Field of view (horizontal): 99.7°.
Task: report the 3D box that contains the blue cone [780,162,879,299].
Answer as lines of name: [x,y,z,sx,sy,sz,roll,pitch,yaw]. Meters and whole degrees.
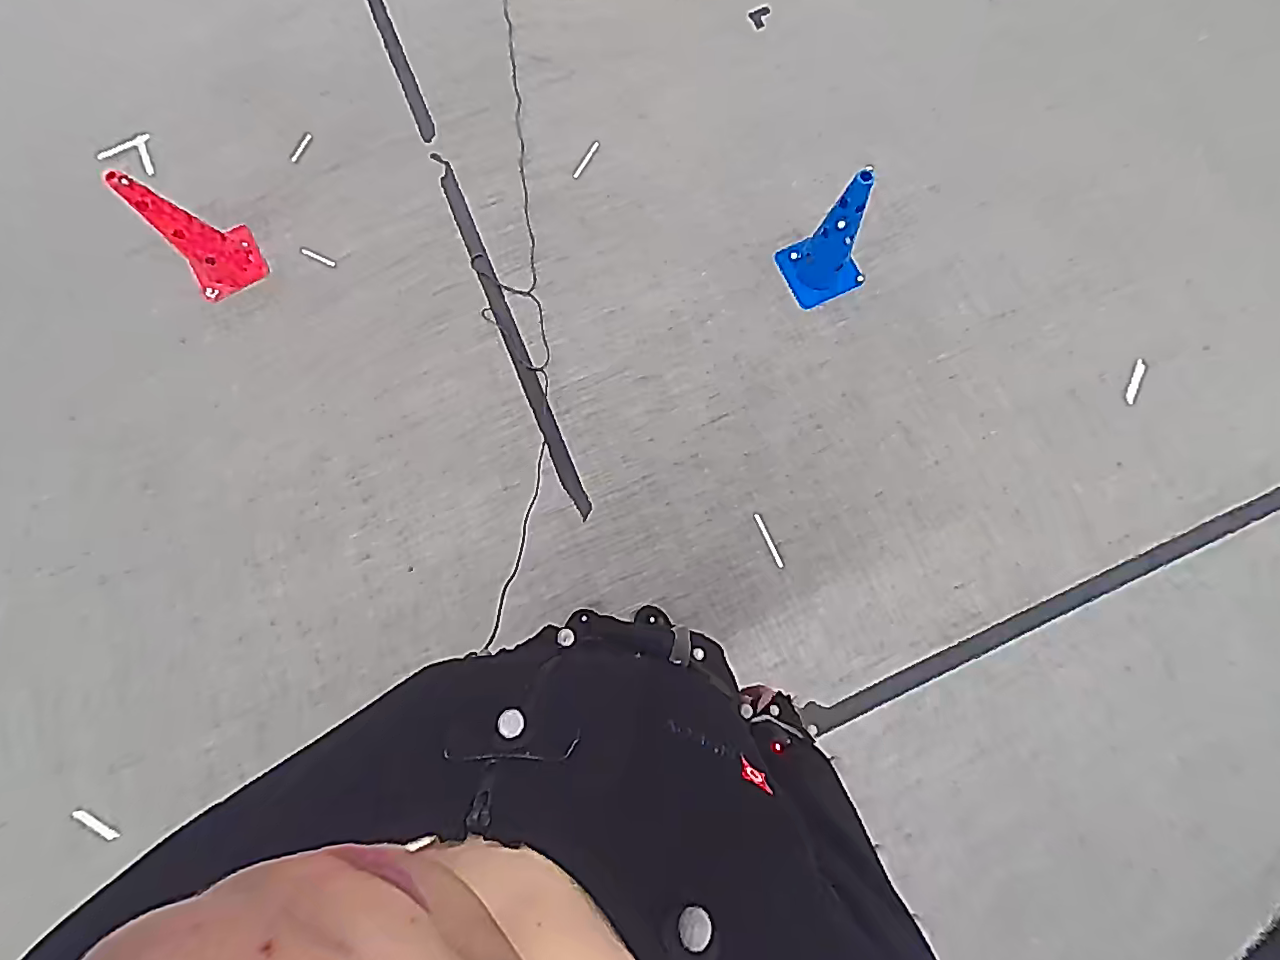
blue cone: [0.507,-0.649,1.377,0.192,0.380,0.193,-23,79,-4]

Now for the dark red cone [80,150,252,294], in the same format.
dark red cone: [-1.252,-0.690,1.419,0.201,0.394,0.202,-31,79,-5]
